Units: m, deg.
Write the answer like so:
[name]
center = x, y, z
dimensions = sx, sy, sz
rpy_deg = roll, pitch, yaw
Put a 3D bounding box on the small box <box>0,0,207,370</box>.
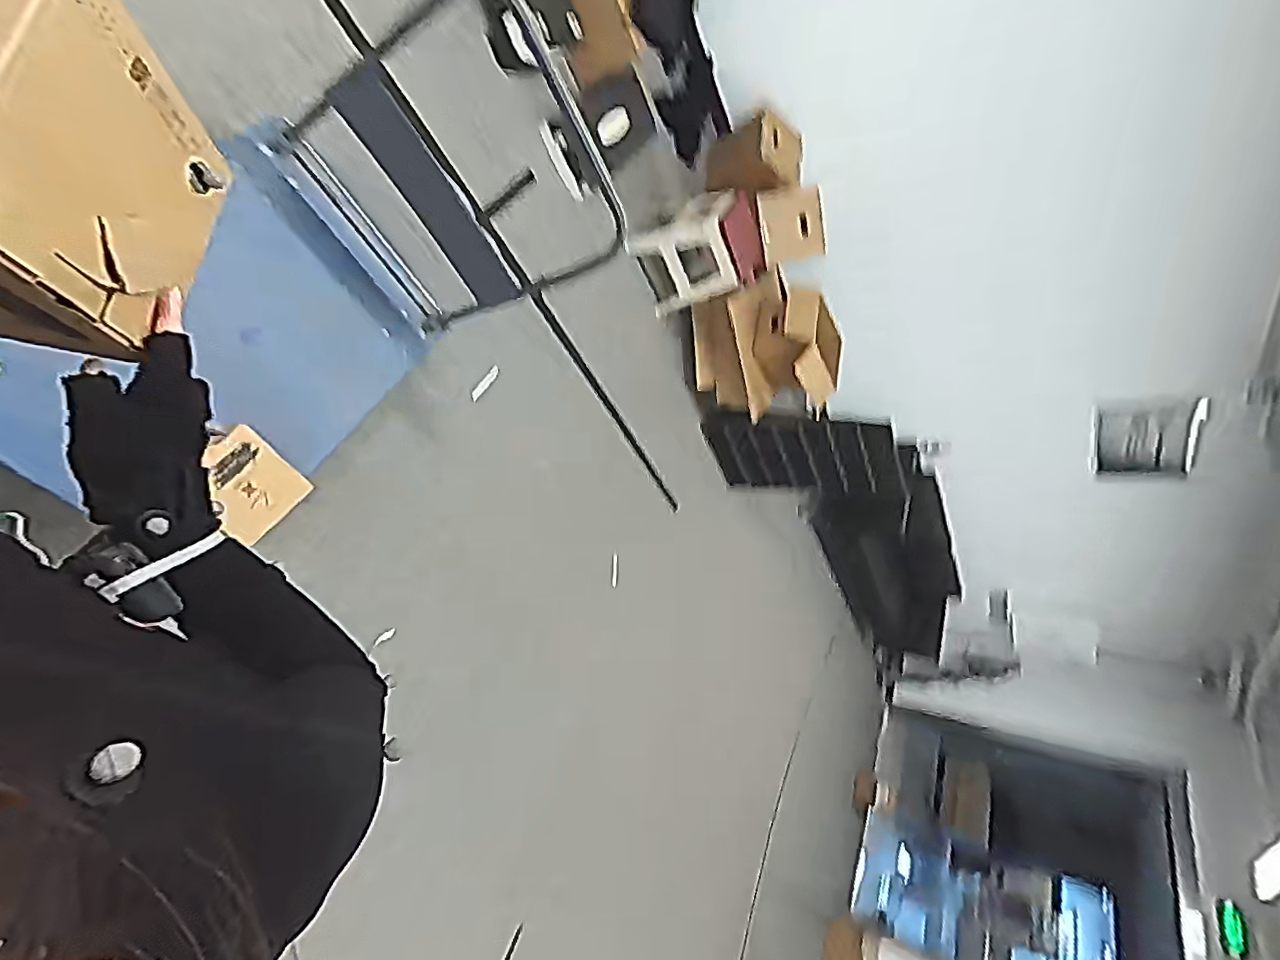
[small box]
center = -0.399, -0.187, 0.317
dimensions = 0.179, 0.168, 0.176
rpy_deg = 10, 76, -10
